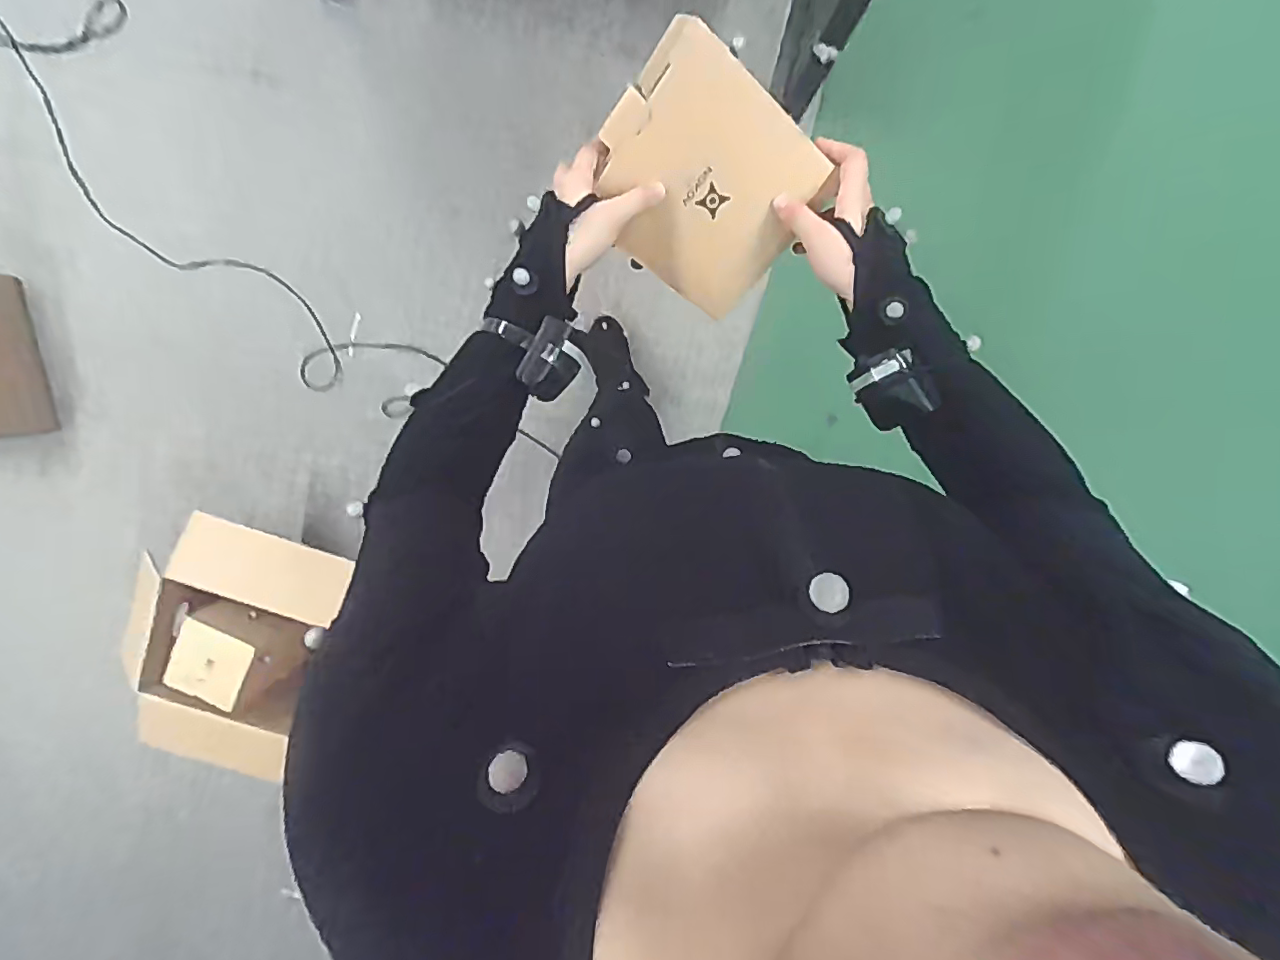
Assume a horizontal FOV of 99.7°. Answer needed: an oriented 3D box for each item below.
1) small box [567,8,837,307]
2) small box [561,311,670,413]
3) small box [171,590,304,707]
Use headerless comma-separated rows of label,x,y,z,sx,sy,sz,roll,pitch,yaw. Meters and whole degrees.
small box,0.053,-0.310,0.521,0.179,0.176,0.168,29,126,-23
small box,-0.052,-0.287,1.310,0.176,0.168,0.179,38,79,-39
small box,-0.936,0.387,1.275,0.168,0.176,0.179,25,100,-1
